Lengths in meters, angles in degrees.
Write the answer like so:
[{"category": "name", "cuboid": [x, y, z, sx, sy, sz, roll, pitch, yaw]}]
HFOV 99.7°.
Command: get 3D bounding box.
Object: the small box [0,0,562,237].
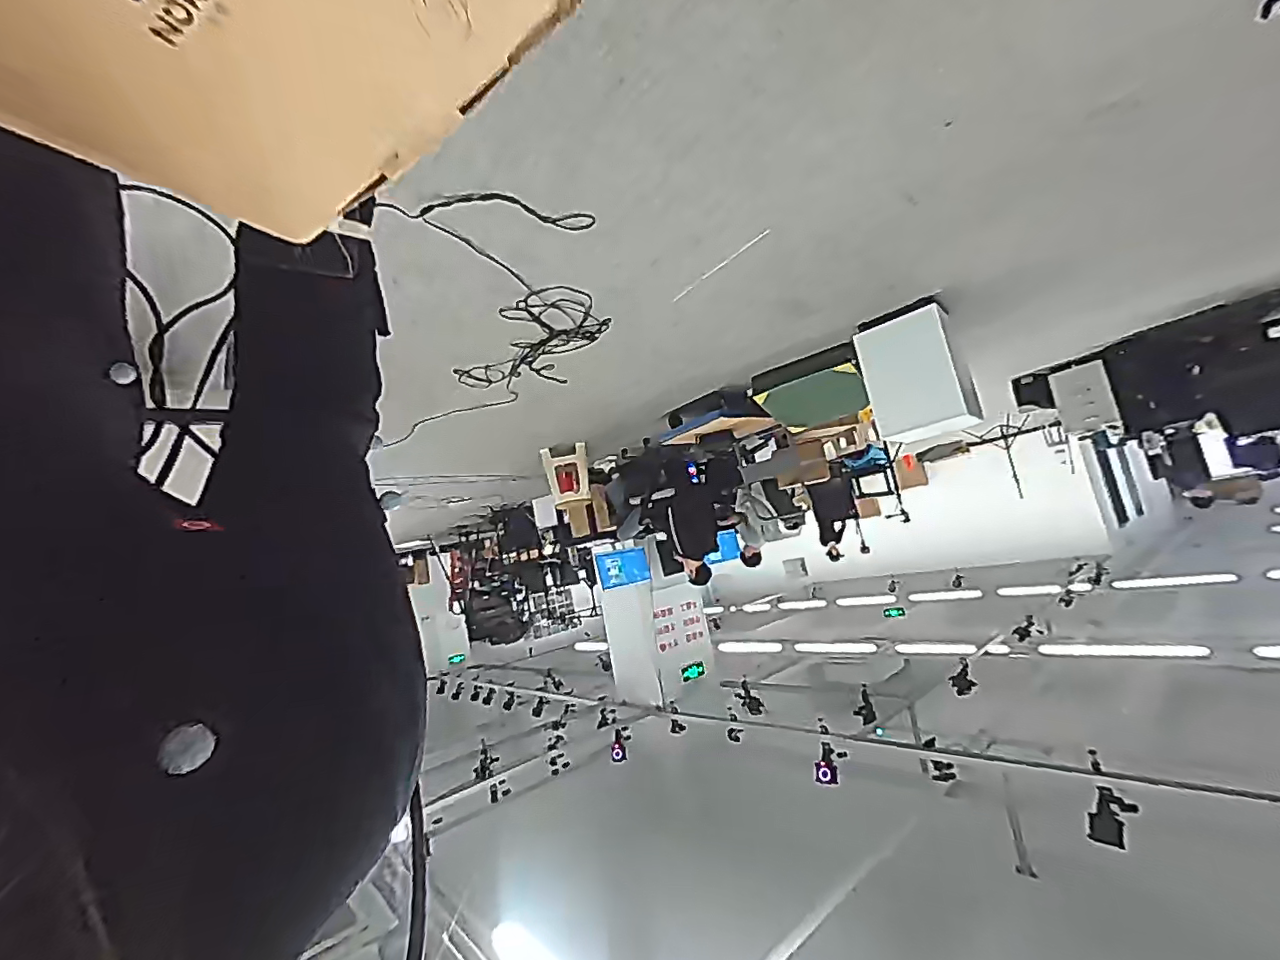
[{"category": "small box", "cuboid": [-0.148, -0.214, 0.151, 0.168, 0.176, 0.179, -18, 167, 29]}]
